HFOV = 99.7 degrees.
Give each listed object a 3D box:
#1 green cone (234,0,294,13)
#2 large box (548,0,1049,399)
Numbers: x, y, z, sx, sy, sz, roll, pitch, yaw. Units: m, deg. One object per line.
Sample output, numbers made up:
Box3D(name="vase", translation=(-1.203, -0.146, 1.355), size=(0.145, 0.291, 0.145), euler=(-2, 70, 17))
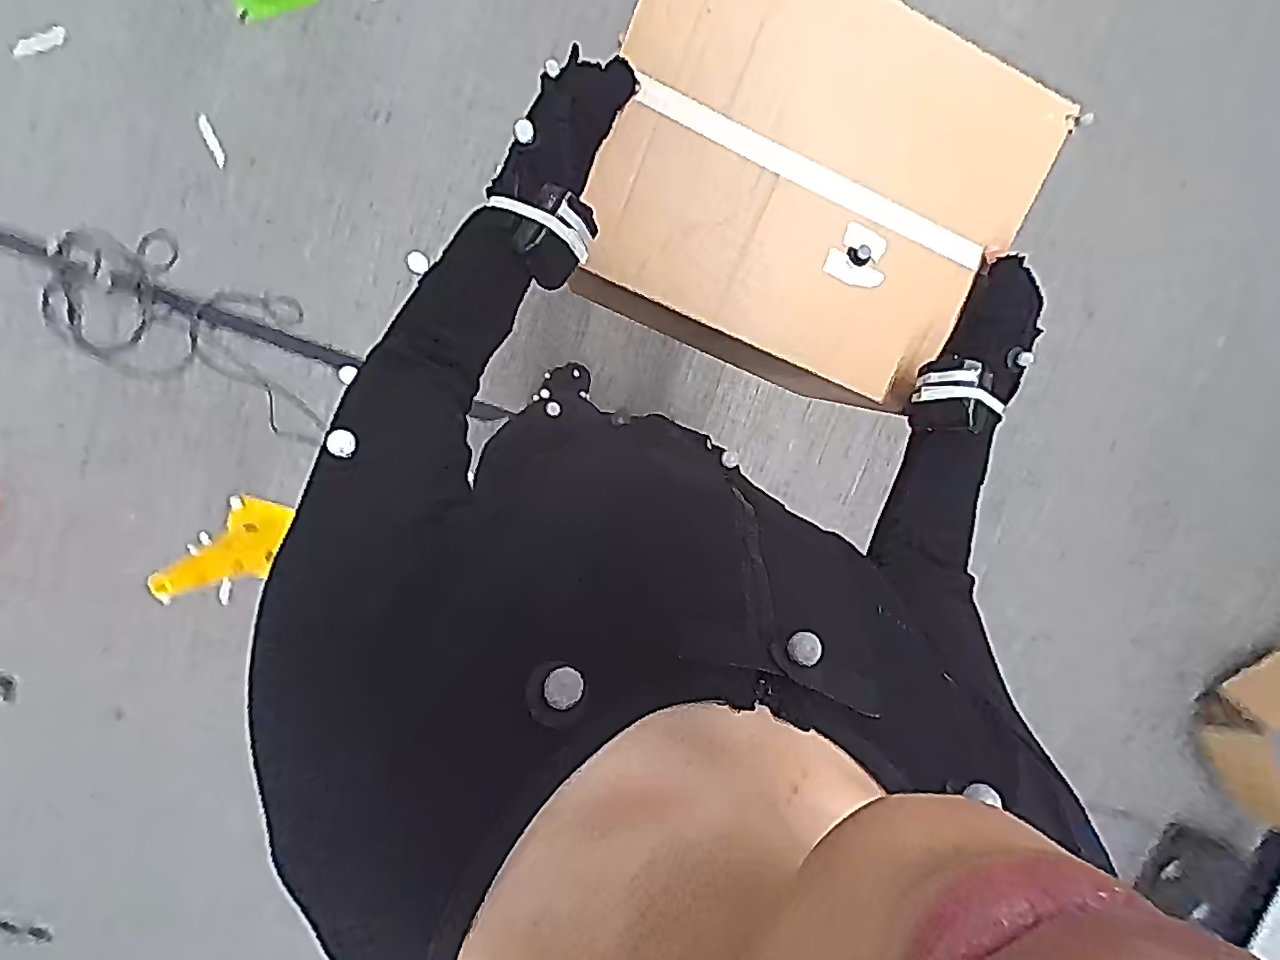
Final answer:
Box3D(name="green cone", translation=(-0.831, -1.158, 1.050), size=(0.200, 0.368, 0.202), euler=(-18, 99, -2))
Box3D(name="large box", translation=(0.134, -0.317, 0.645), size=(0.408, 0.320, 0.320), euler=(20, 101, -10))
